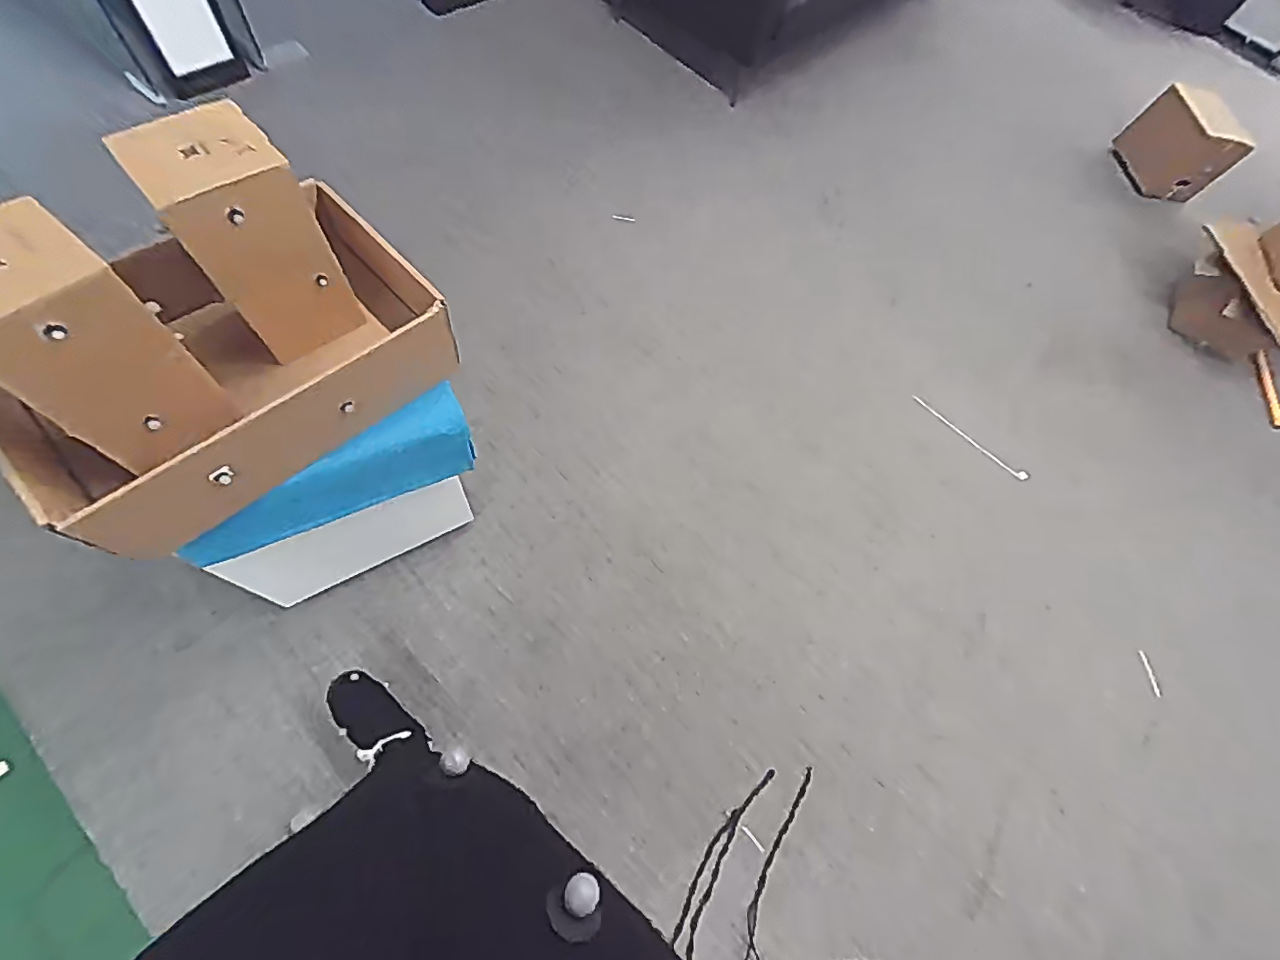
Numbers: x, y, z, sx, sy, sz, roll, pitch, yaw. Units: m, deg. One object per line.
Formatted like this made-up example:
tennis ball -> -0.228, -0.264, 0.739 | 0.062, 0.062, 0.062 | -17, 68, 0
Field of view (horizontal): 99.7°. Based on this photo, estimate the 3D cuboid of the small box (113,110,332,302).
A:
small box -> -0.608, -0.403, 0.812 | 0.179, 0.176, 0.168 | -37, 75, -23

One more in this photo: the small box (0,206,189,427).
small box -> -0.749, -0.201, 0.692 | 0.168, 0.176, 0.179 | 39, 64, 11
